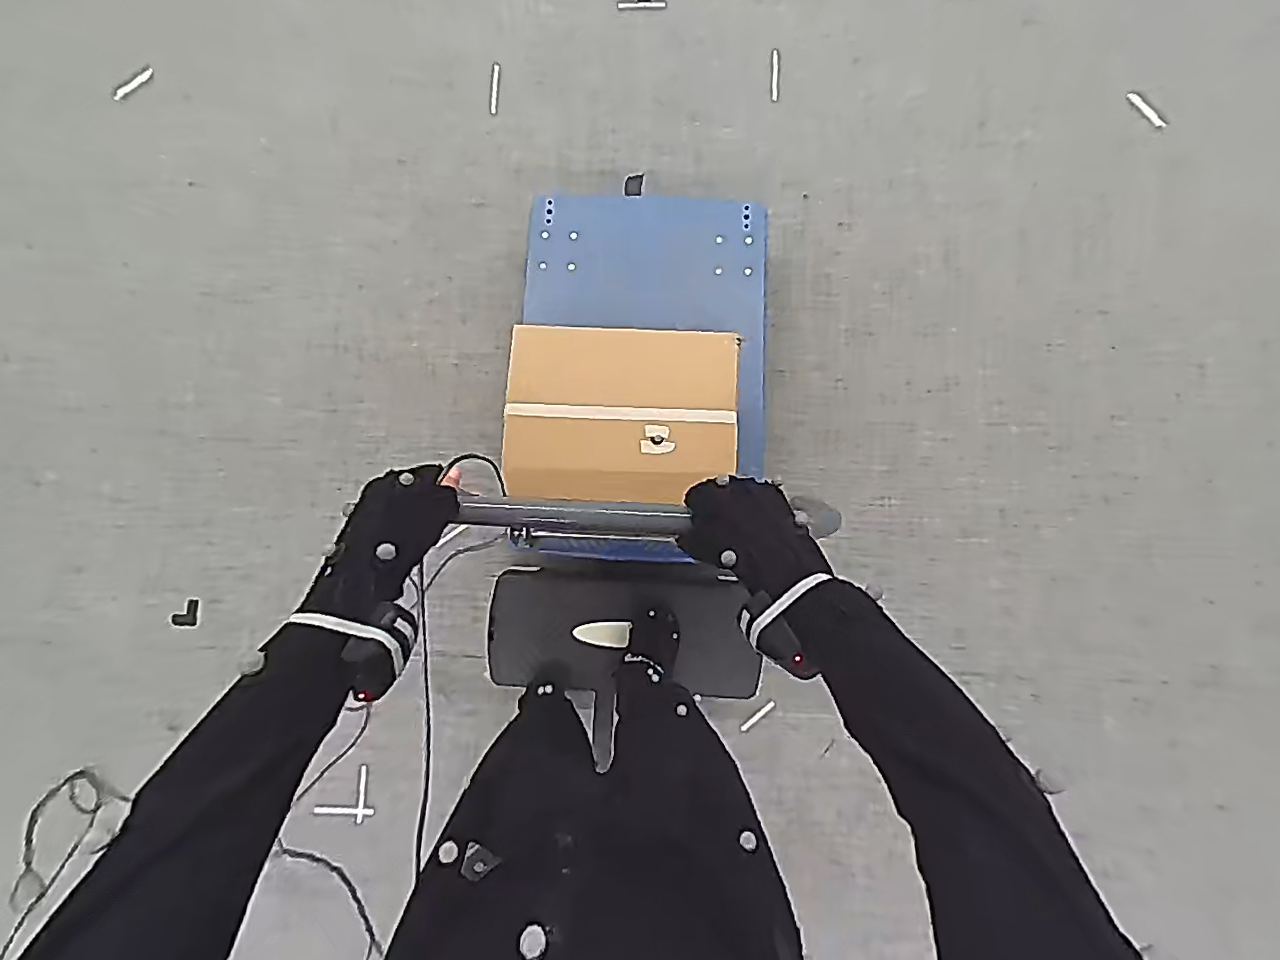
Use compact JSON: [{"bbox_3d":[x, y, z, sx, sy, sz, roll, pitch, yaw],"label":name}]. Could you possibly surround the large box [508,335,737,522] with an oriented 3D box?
[{"bbox_3d":[-0.028,-0.084,1.107,0.408,0.320,0.320,3,82,1],"label":"large box"}]
